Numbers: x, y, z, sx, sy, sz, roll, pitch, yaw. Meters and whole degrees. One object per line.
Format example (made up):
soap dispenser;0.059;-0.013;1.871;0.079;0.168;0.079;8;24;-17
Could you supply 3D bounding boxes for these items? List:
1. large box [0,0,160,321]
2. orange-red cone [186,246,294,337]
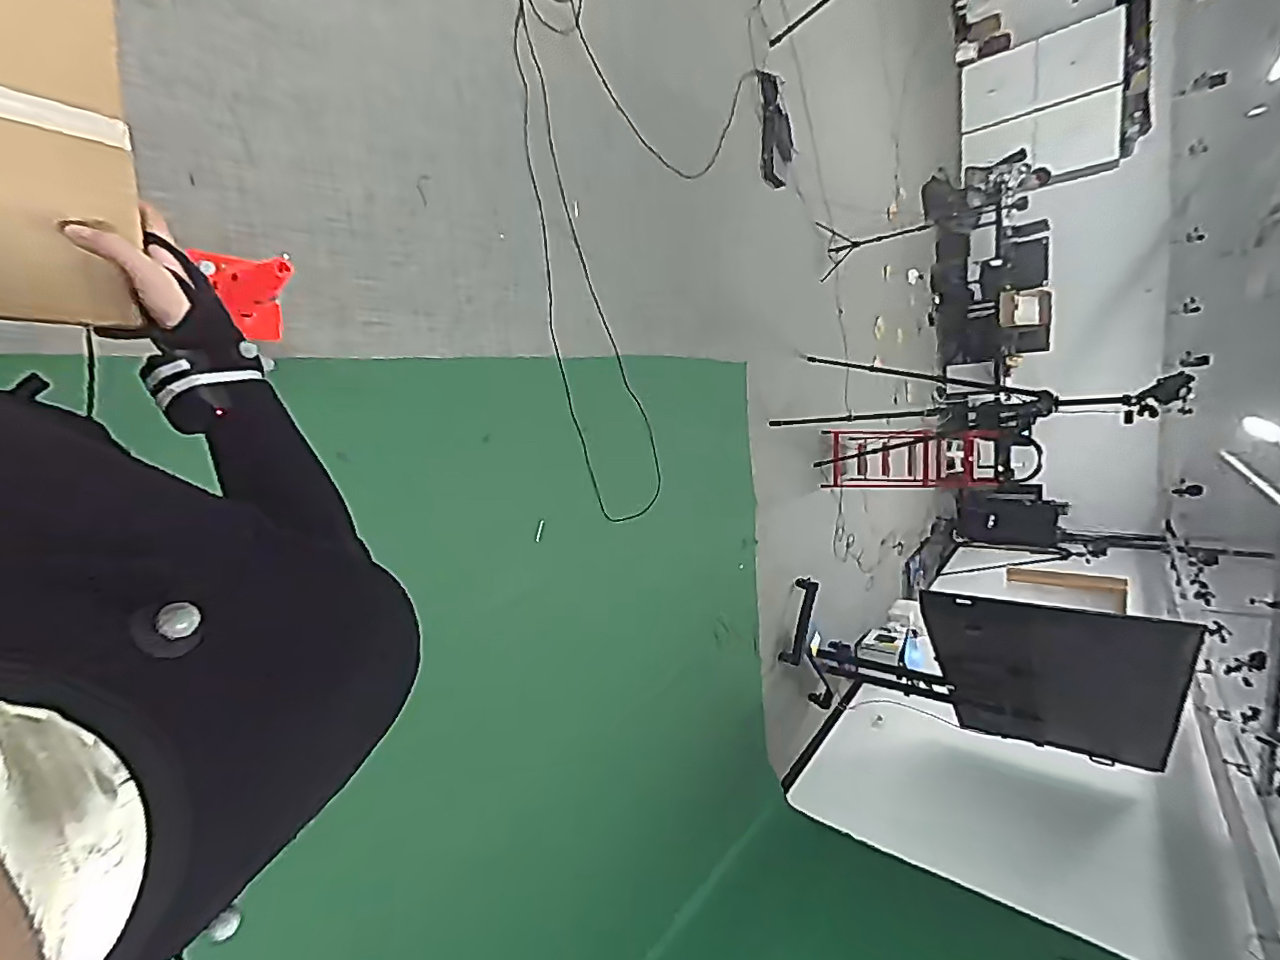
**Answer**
large box;-0.679;-0.298;0.411;0.408;0.320;0.320;-11;111;-49
orange-red cone;-0.895;-0.466;1.268;0.199;0.360;0.198;-5;96;-52
